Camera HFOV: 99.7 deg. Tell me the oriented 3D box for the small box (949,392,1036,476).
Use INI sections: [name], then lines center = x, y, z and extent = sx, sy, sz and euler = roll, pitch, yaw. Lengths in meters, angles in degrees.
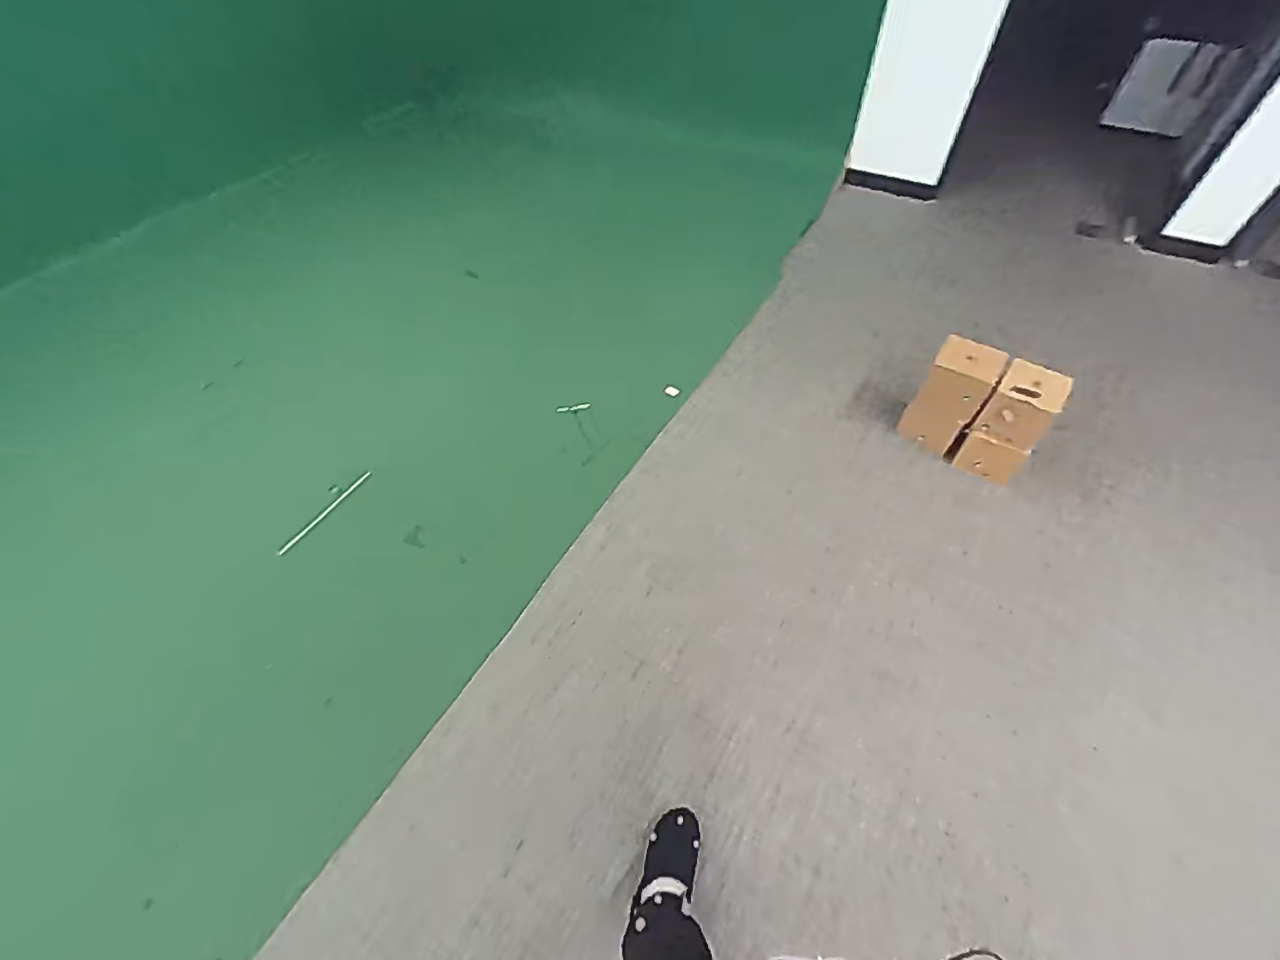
[small box]
center = 1.135, -0.146, 1.749
extent = 0.168, 0.176, 0.179
euler = 26, 61, 20
